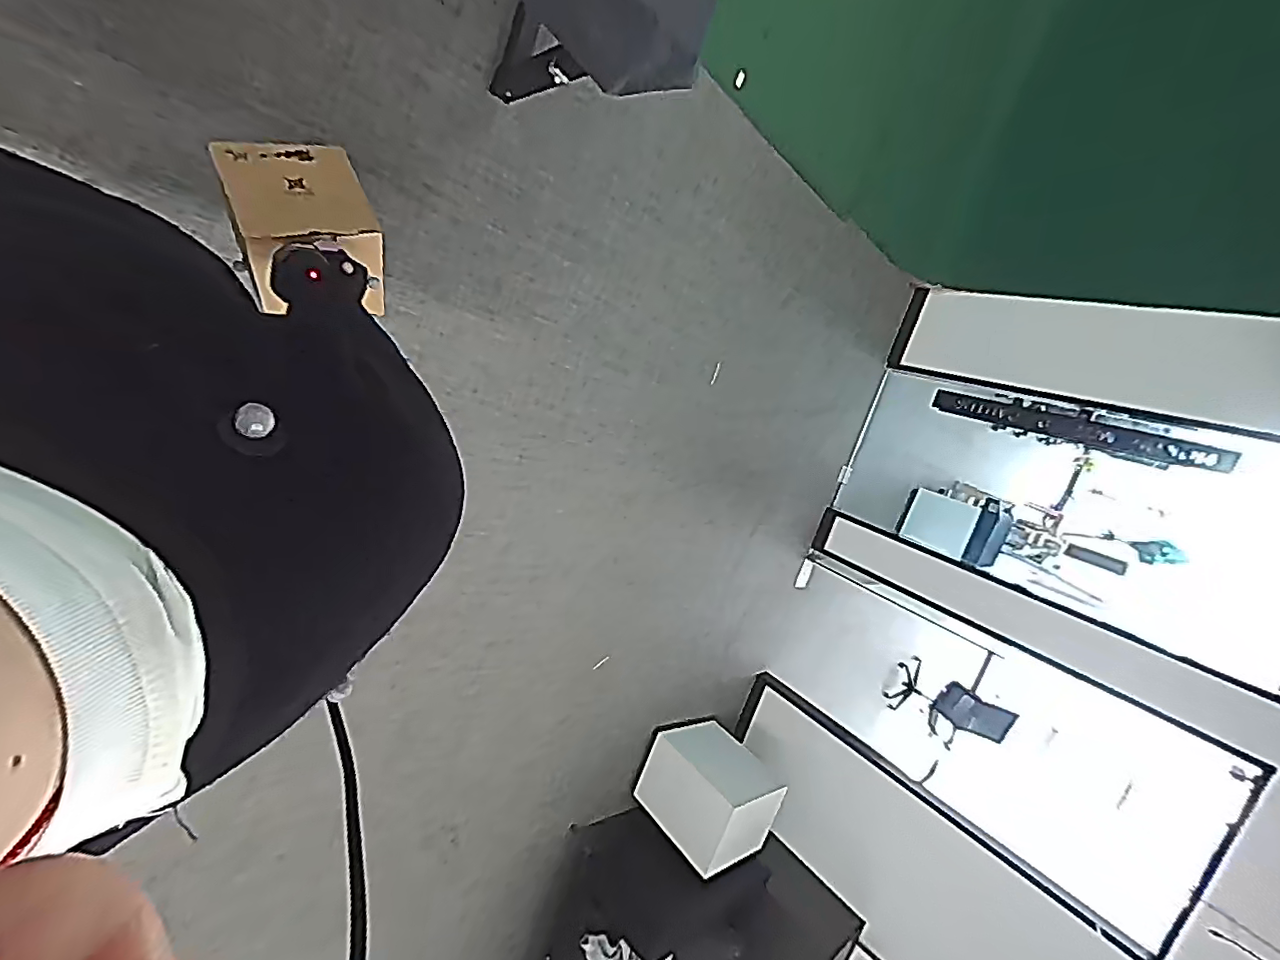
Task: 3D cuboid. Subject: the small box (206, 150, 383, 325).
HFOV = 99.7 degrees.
[{"bbox_3d":[-0.497,-0.350,0.802,0.168,0.179,0.176,-22,164,-30],"label":"small box"}]
